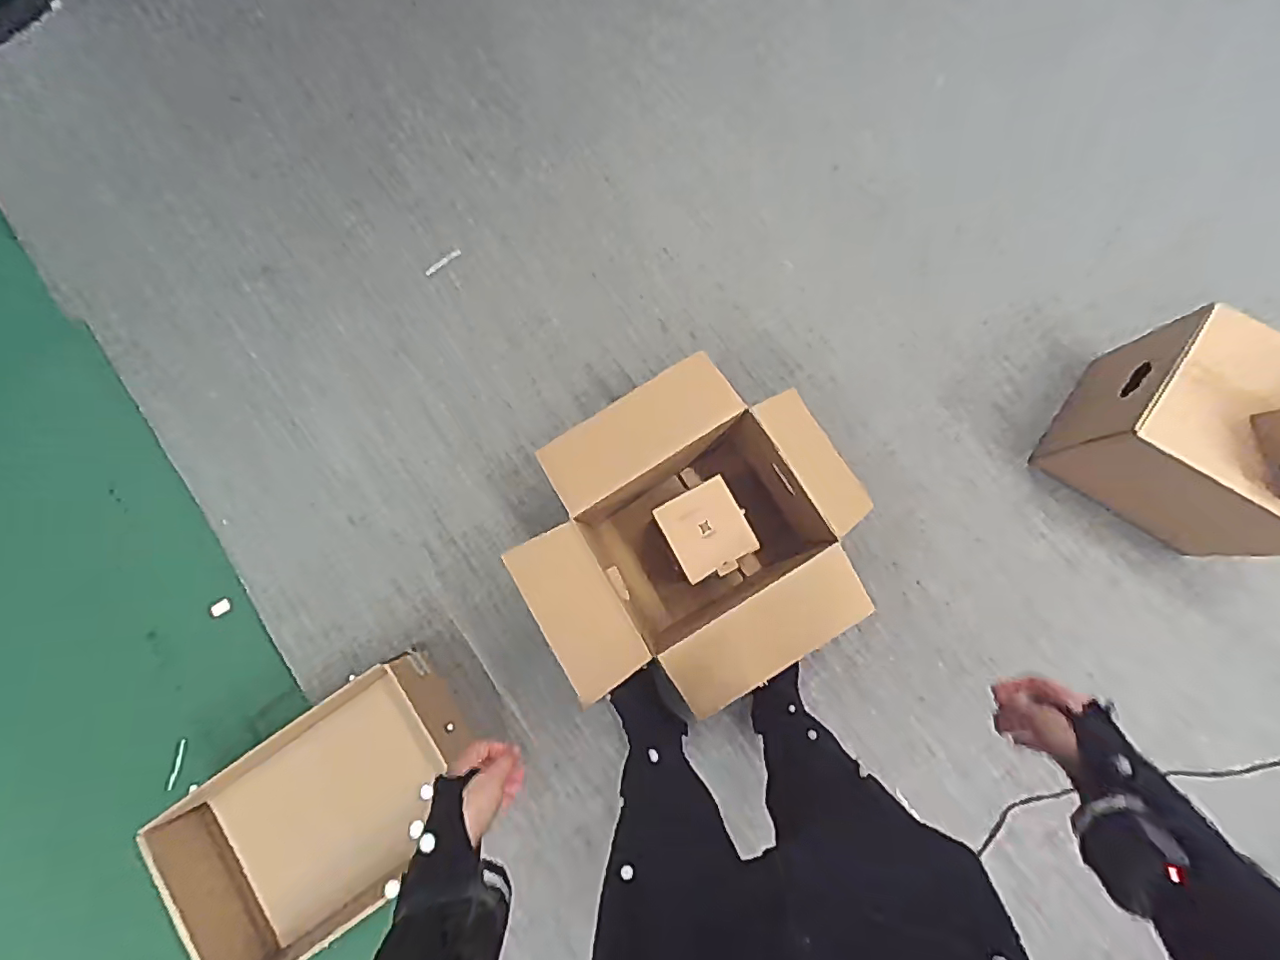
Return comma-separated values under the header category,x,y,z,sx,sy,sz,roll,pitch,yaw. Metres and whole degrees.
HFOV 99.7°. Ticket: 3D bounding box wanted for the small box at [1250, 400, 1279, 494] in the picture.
category,x,y,z,sx,sy,sz,roll,pitch,yaw
small box,1.183,-0.077,0.889,0.179,0.176,0.168,-15,82,3
